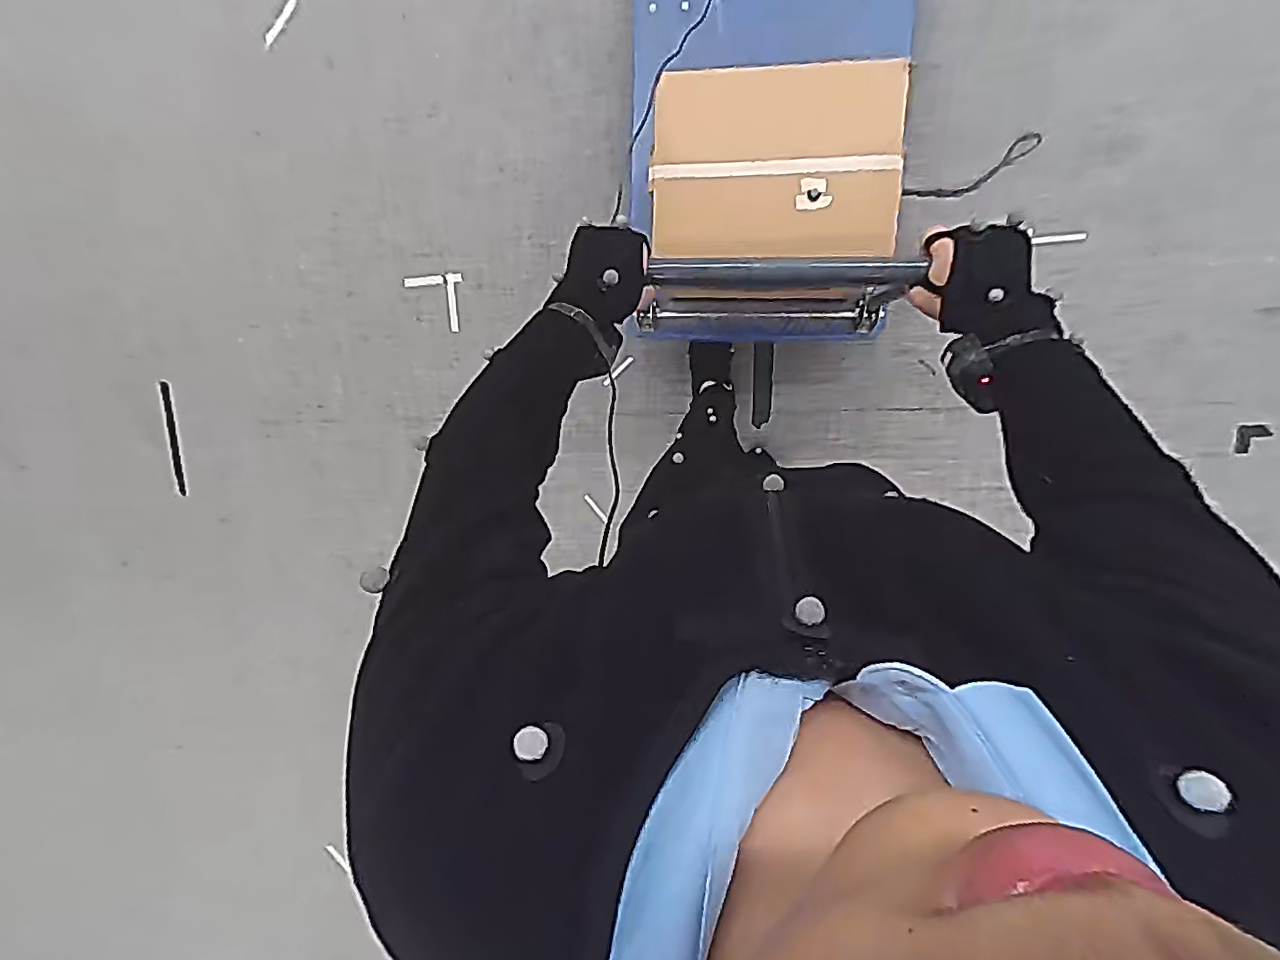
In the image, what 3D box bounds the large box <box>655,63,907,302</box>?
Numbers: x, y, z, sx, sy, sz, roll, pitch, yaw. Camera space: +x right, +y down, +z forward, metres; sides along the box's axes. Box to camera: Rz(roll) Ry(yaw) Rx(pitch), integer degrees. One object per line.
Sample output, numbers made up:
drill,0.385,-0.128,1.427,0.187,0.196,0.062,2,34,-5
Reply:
large box,0.242,-0.534,1.046,0.408,0.320,0.320,2,100,7
